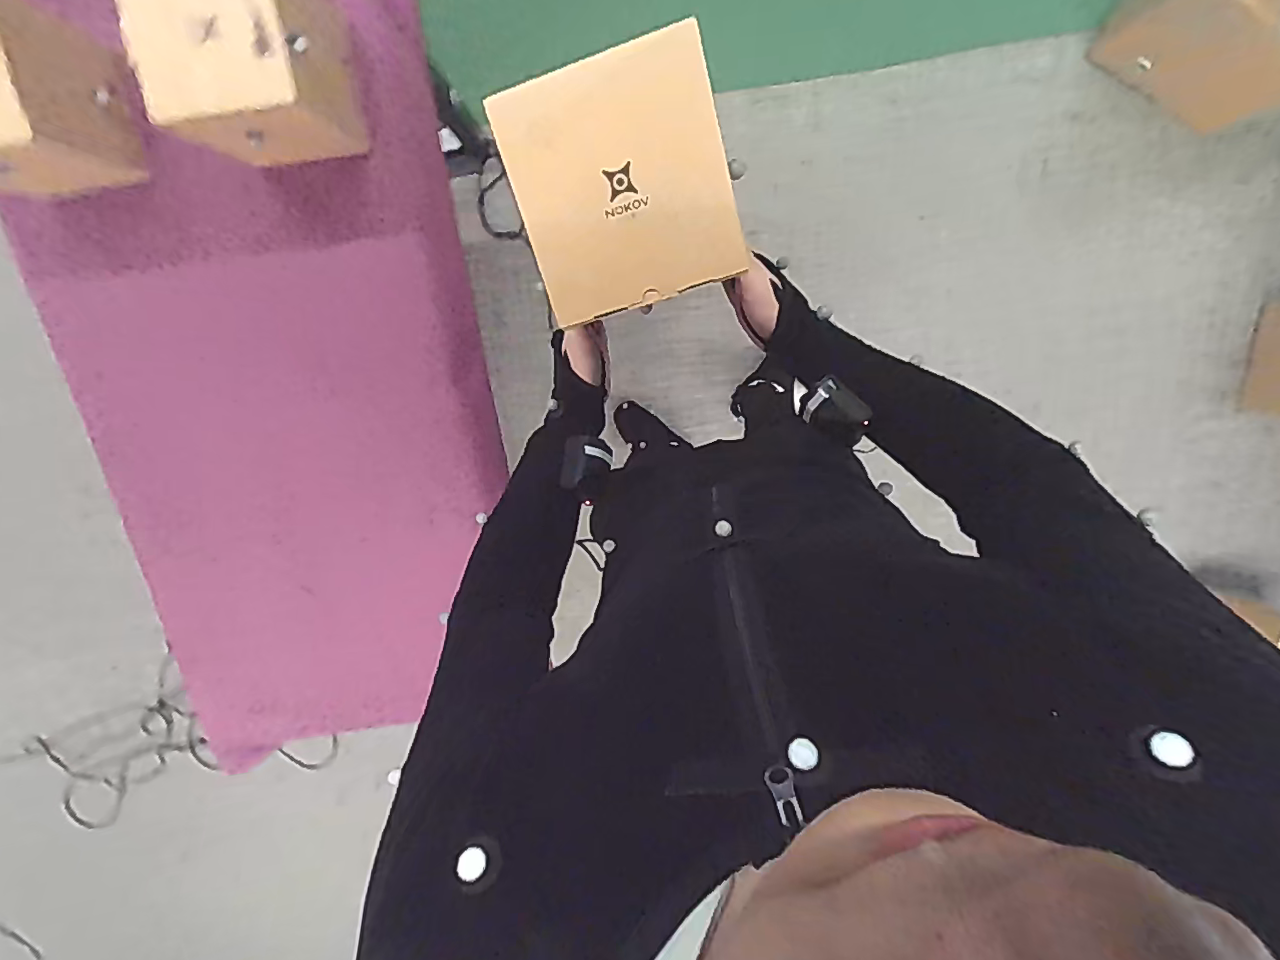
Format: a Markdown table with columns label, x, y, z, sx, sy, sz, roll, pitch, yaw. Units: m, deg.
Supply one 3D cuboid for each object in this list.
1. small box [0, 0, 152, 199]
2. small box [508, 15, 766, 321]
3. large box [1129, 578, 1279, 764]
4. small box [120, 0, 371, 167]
| label | x | y | z | sx | sy | sz | roll | pitch | yaw |
| --- | --- | --- | --- | --- | --- | --- | --- | --- | --- |
| small box | -0.791 | -0.471 | 0.681 | 0.179 | 0.176 | 0.168 | -9 | 106 | 2 |
| small box | 0.003 | -0.257 | 0.488 | 0.168 | 0.176 | 0.179 | -14 | 111 | 7 |
| large box | 1.794 | 0.562 | 1.601 | 0.320 | 0.320 | 0.408 | 15 | 102 | -4 |
| small box | -0.474 | -0.510 | 0.672 | 0.179 | 0.176 | 0.168 | -6 | 104 | 4 |
